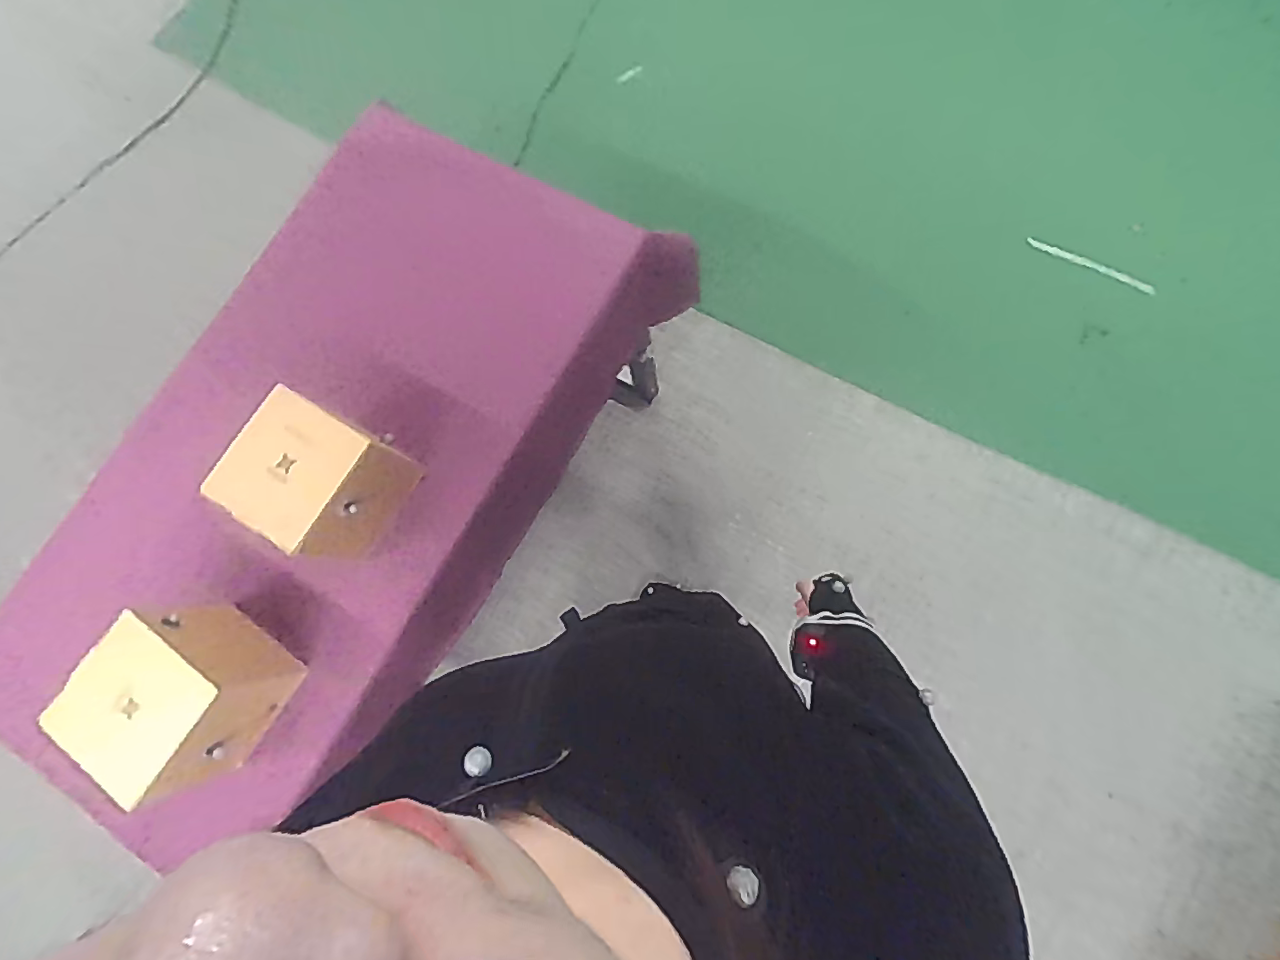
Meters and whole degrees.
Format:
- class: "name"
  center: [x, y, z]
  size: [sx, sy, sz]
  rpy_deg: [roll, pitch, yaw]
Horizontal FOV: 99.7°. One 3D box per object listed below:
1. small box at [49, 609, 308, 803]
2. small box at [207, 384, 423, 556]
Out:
- class: "small box"
  center: [-0.611, 0.288, 0.741]
  size: [0.179, 0.176, 0.168]
  rpy_deg: [32, 83, 12]
- class: "small box"
  center: [-0.453, -0.003, 0.786]
  size: [0.168, 0.176, 0.179]
  rpy_deg: [31, 82, 10]
